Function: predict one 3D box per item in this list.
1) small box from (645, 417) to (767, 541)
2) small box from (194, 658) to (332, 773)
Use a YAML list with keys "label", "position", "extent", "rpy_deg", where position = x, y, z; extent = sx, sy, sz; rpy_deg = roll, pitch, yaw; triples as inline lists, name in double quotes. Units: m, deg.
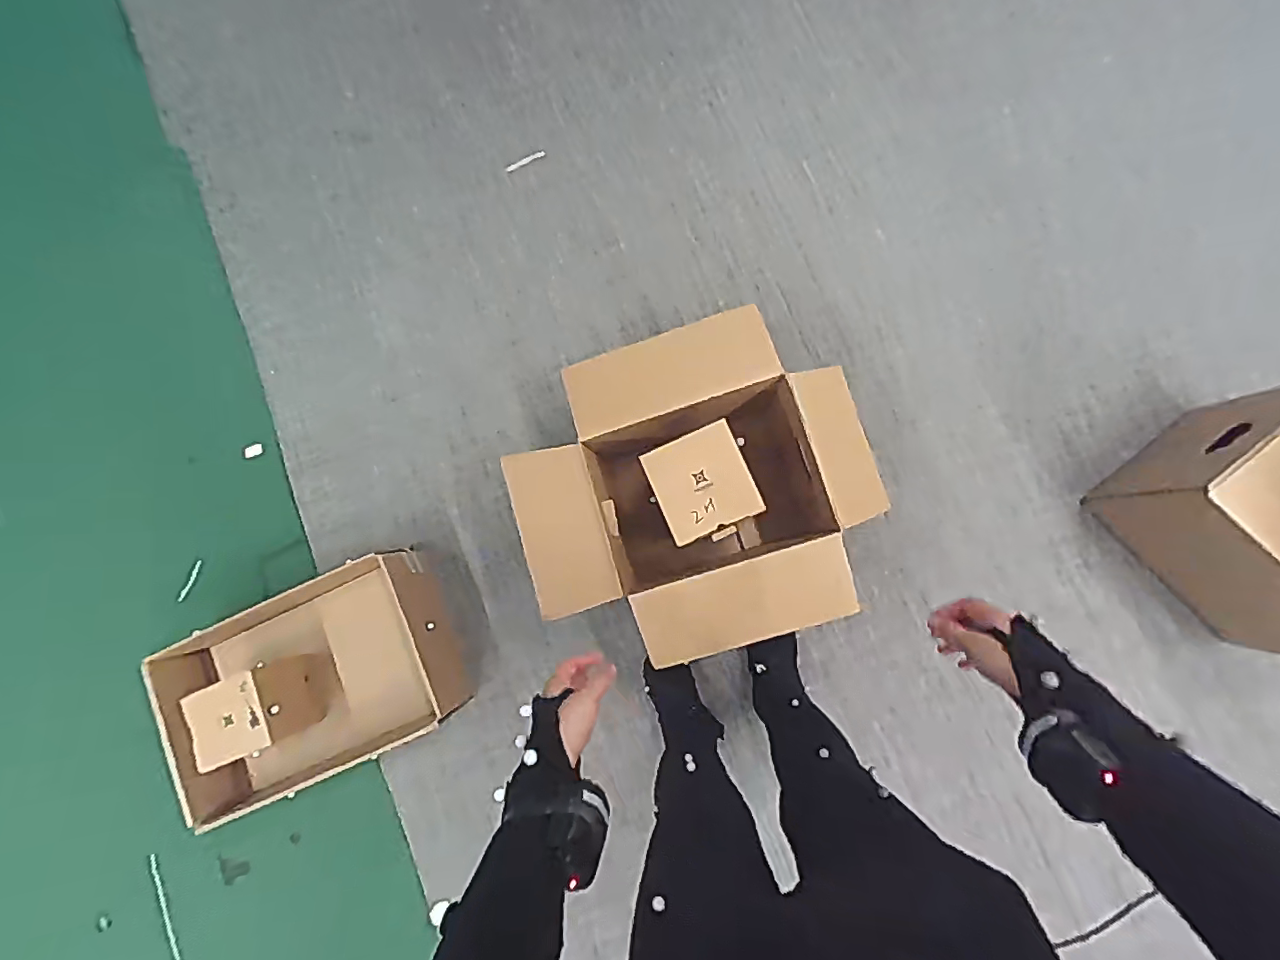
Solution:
- label: "small box"
  position: [0.124, 0.006, 1.021]
  extent: [0.168, 0.176, 0.179]
  rpy_deg: [-25, 82, 7]
- label: "small box"
  position: [-0.849, 0.525, 1.230]
  extent: [0.179, 0.176, 0.168]
  rpy_deg: [-24, 81, 4]
